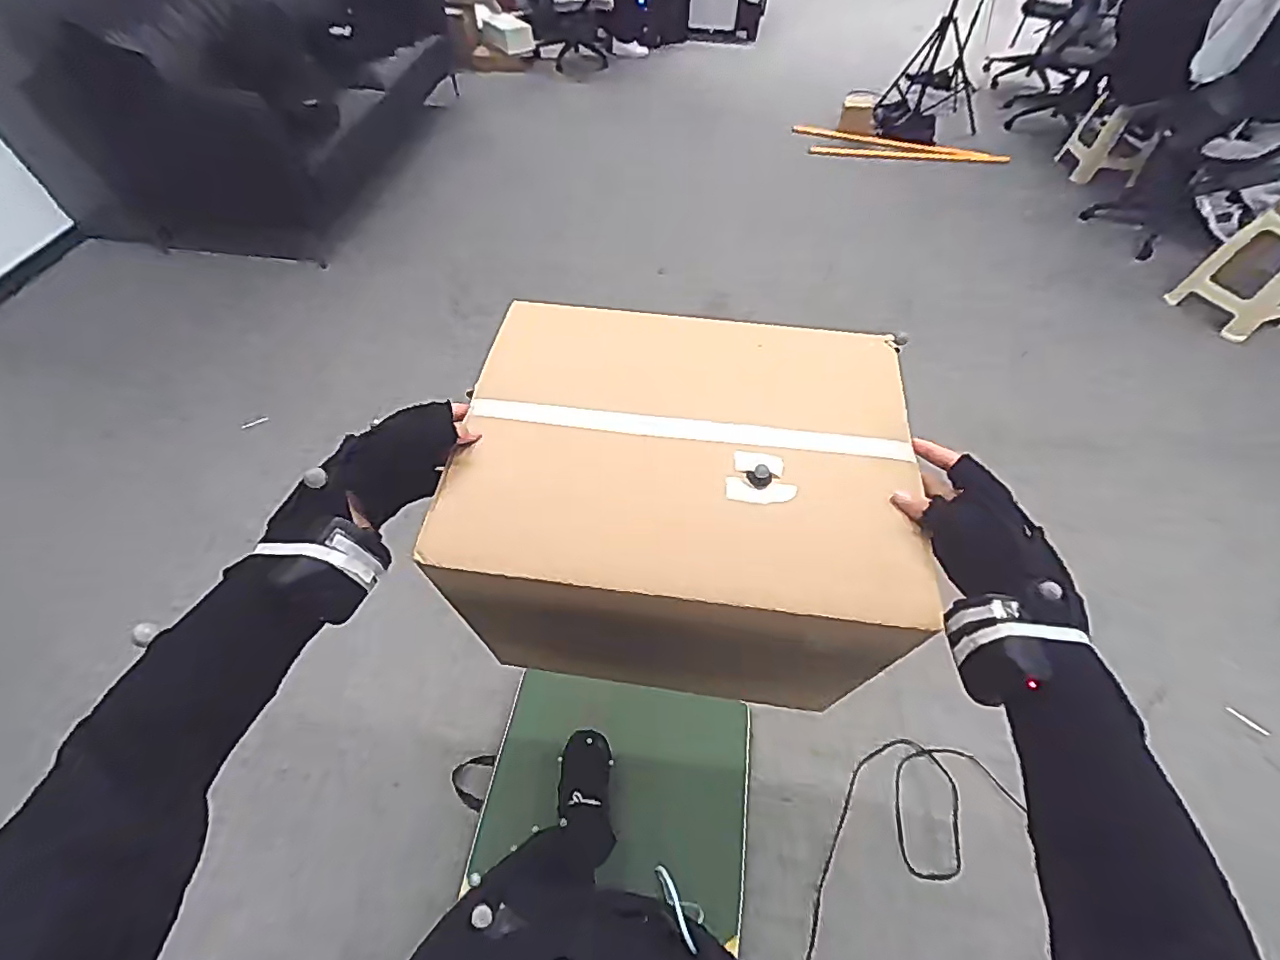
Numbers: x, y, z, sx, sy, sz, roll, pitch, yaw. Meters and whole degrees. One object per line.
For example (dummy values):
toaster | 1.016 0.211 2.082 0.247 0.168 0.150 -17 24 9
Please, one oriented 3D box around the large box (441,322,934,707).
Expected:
large box | 0.046 0.051 0.632 0.408 0.320 0.320 7 57 3
